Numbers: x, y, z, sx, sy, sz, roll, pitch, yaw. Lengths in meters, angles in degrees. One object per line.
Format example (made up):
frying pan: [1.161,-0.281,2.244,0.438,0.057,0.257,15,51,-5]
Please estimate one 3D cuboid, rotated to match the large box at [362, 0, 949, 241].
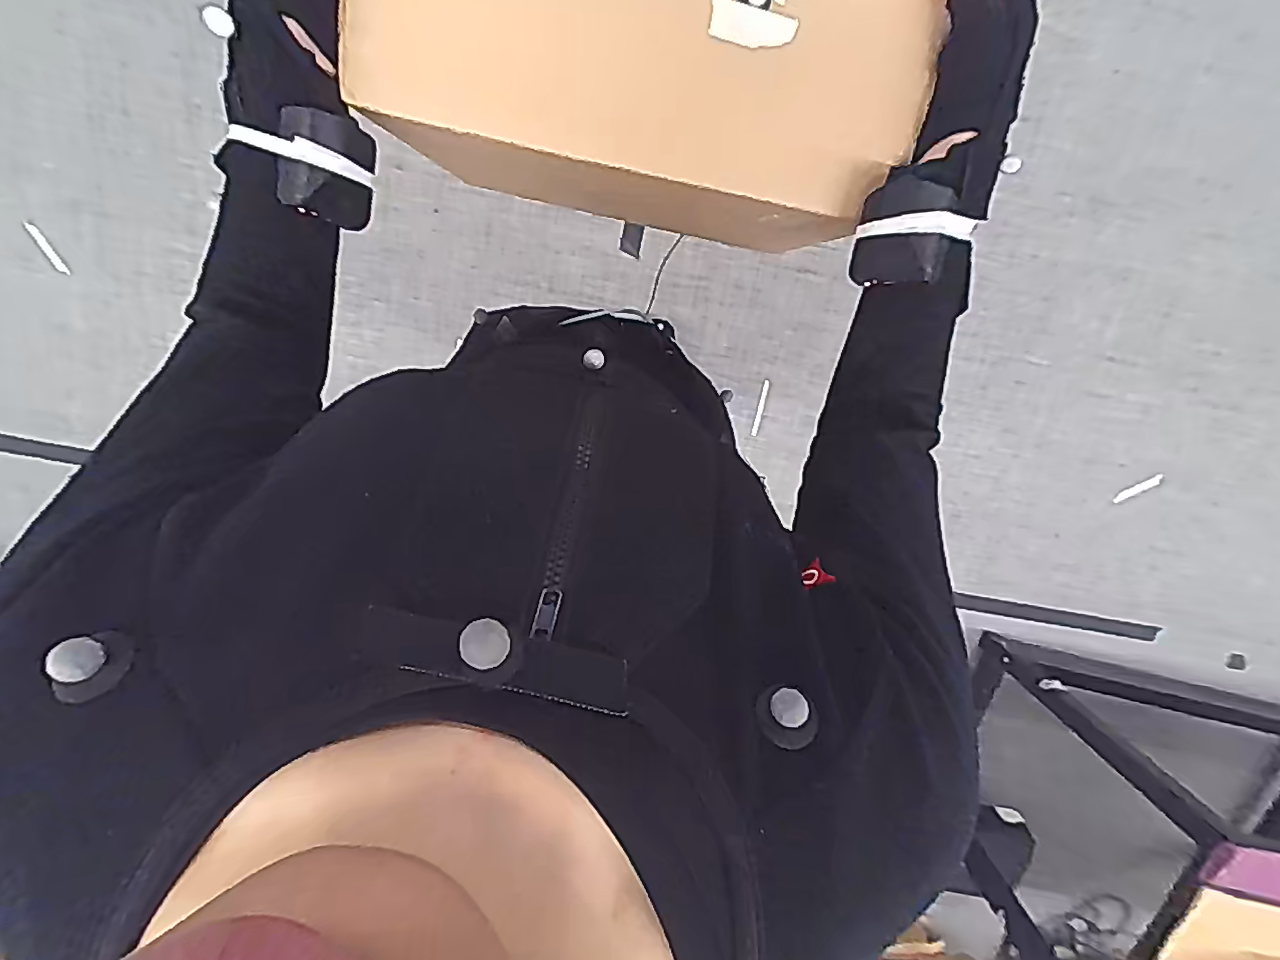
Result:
large box: [0.017,-0.428,0.492,0.408,0.320,0.320,9,110,-6]
